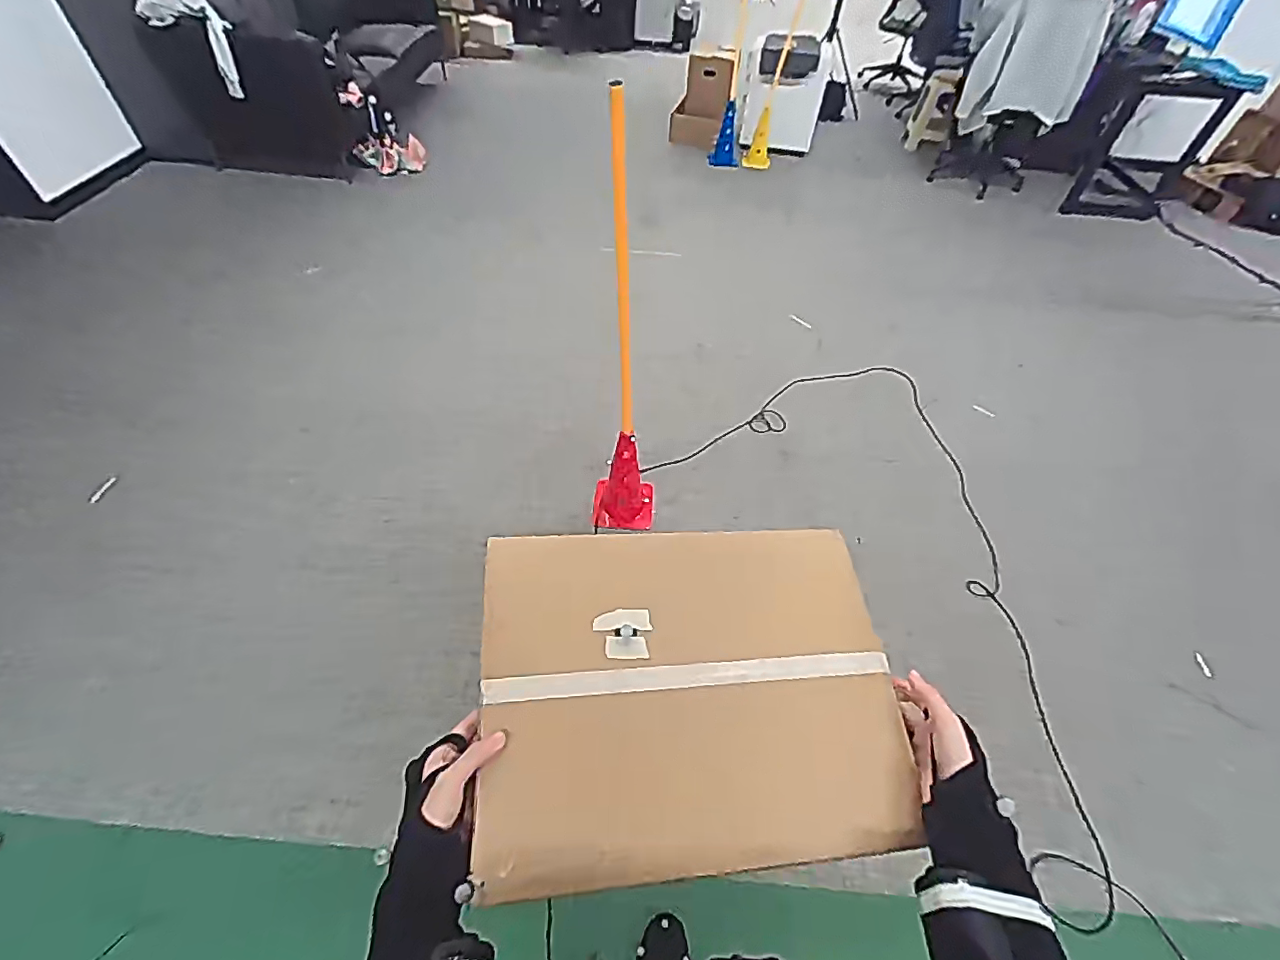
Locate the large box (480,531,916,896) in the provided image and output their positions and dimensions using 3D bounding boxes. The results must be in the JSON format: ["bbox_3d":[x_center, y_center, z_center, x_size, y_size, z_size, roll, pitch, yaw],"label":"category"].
[{"bbox_3d":[0.032,0.271,0.670,0.408,0.320,0.320,-1,60,-9],"label":"large box"}]
